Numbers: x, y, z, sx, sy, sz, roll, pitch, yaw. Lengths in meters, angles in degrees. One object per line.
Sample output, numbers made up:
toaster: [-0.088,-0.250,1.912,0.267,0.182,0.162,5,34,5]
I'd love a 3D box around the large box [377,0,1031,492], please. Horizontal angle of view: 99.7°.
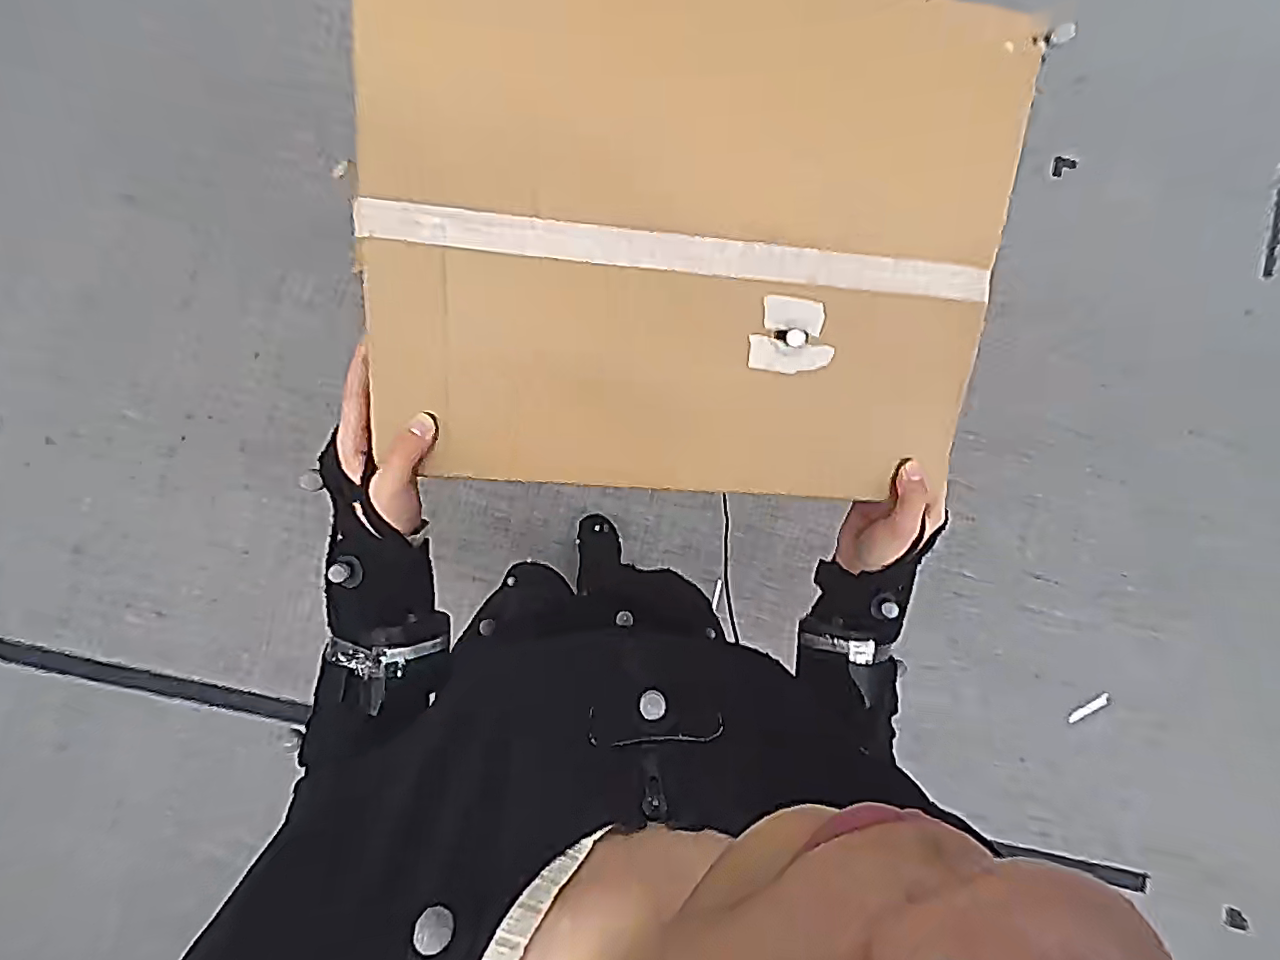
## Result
large box: [0.022,-0.183,0.494,0.408,0.320,0.320,3,106,-9]
